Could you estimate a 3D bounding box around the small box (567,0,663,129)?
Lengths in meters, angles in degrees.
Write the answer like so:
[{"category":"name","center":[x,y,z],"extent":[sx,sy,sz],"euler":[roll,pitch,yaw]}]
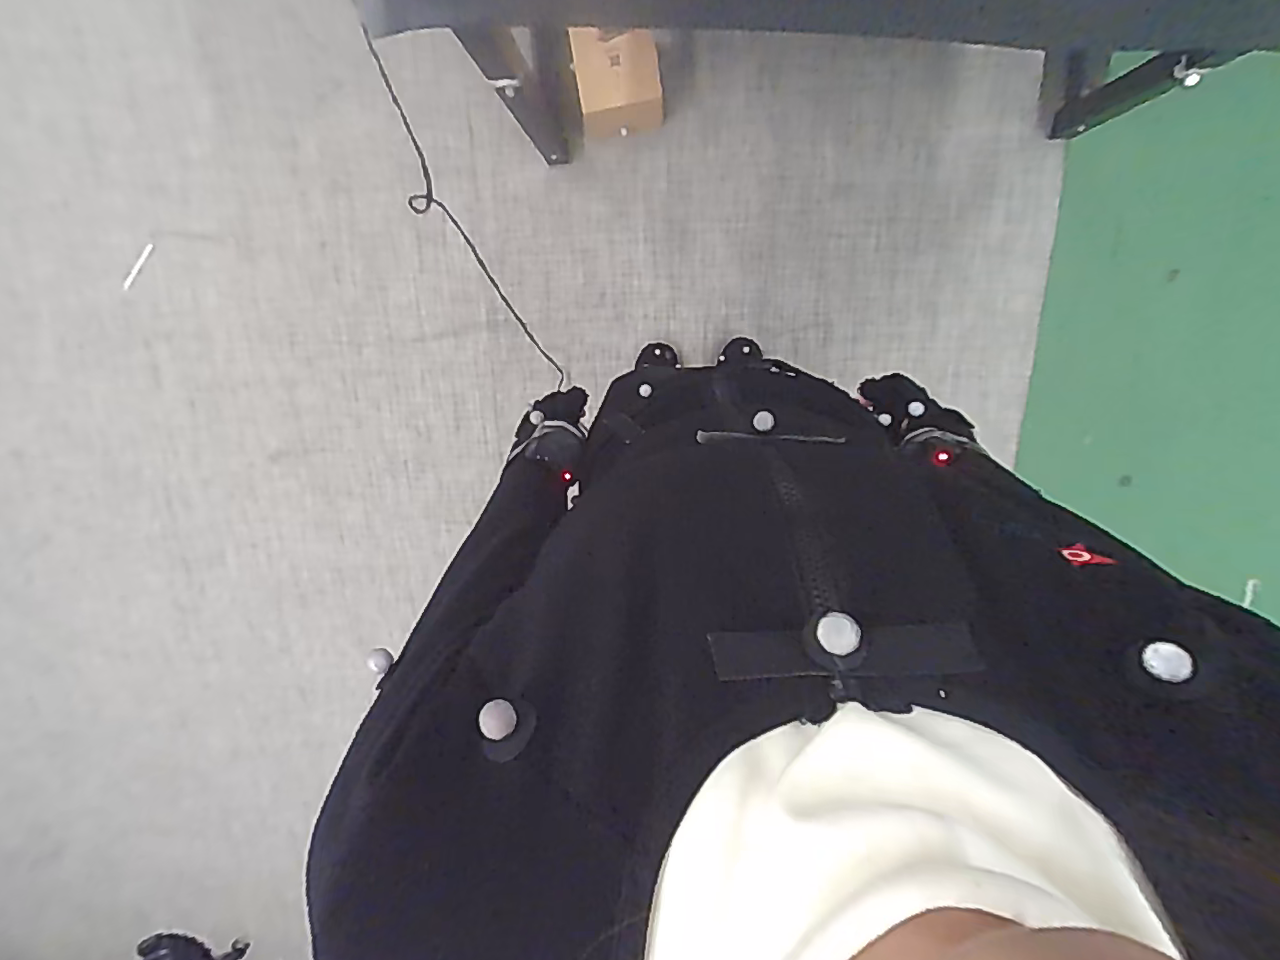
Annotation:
[{"category":"small box","center":[-0.046,-0.870,1.126],"extent":[0.168,0.176,0.179],"euler":[-8,106,5]}]
